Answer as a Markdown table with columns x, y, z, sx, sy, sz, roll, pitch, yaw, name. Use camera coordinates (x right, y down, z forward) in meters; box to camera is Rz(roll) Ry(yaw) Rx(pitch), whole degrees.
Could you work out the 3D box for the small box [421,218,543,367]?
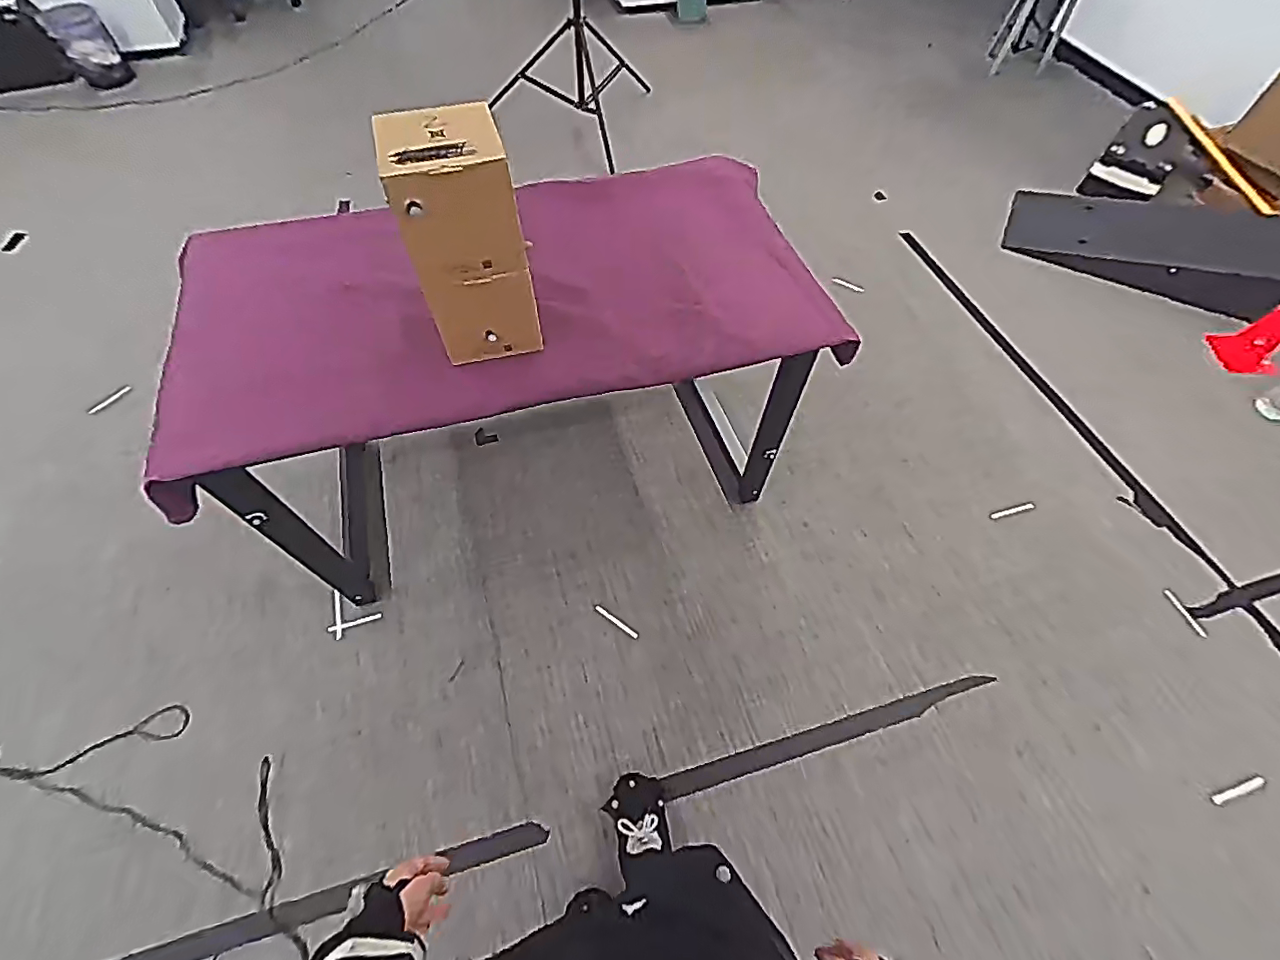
| x | y | z | sx | sy | sz | roll | pitch | yaw | name |
| --- | --- | --- | --- | --- | --- | --- | --- | --- | --- |
| -0.274 | -0.327 | 0.951 | 0.168 | 0.176 | 0.179 | -12 | 59 | -8 | small box |
